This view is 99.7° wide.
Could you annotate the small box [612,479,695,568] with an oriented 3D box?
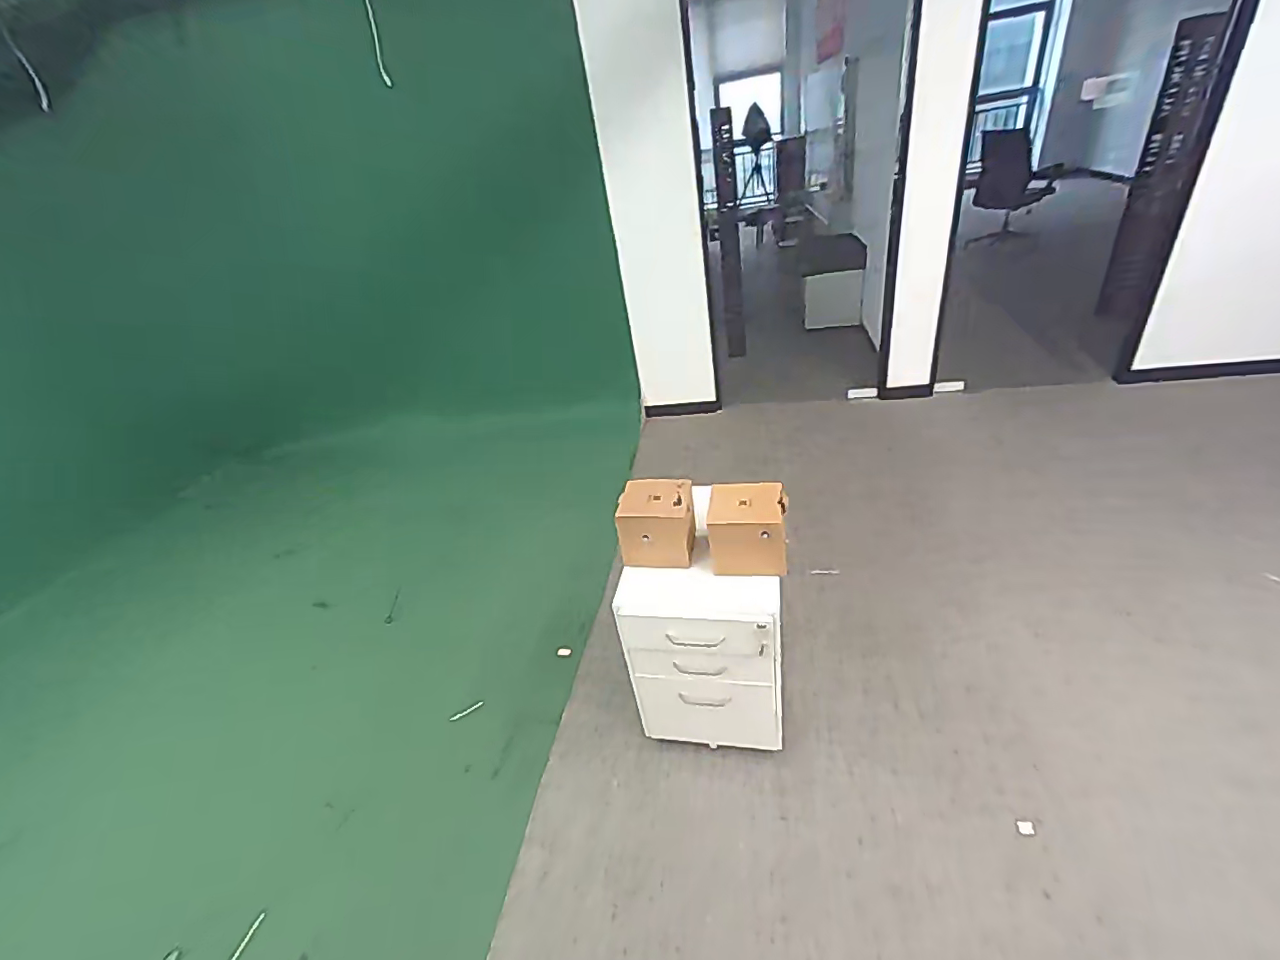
[{"bbox_3d":[0.042,0.114,1.413,0.179,0.176,0.168,-1,34,14],"label":"small box"}]
